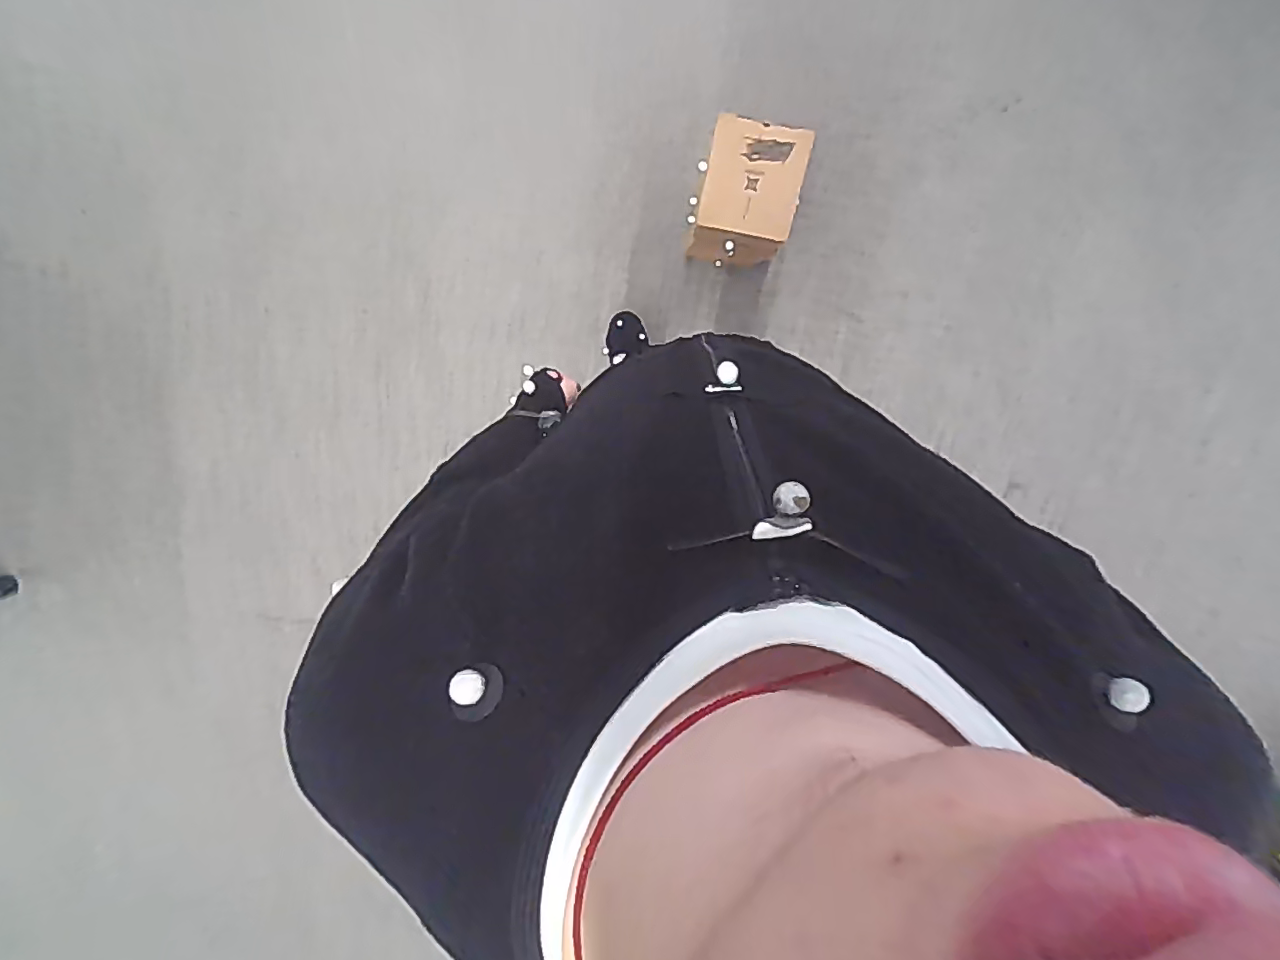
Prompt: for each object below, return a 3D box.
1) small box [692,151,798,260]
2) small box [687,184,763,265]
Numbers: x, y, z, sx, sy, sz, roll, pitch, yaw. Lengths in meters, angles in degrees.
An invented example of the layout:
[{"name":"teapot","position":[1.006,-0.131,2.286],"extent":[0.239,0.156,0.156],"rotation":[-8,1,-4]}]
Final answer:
[{"name":"small box","position":[0.213,-0.577,1.161],"extent":[0.179,0.176,0.168],"rotation":[10,107,-2]},{"name":"small box","position":[0.218,-0.627,1.316],"extent":[0.179,0.176,0.168],"rotation":[11,107,-2]}]
